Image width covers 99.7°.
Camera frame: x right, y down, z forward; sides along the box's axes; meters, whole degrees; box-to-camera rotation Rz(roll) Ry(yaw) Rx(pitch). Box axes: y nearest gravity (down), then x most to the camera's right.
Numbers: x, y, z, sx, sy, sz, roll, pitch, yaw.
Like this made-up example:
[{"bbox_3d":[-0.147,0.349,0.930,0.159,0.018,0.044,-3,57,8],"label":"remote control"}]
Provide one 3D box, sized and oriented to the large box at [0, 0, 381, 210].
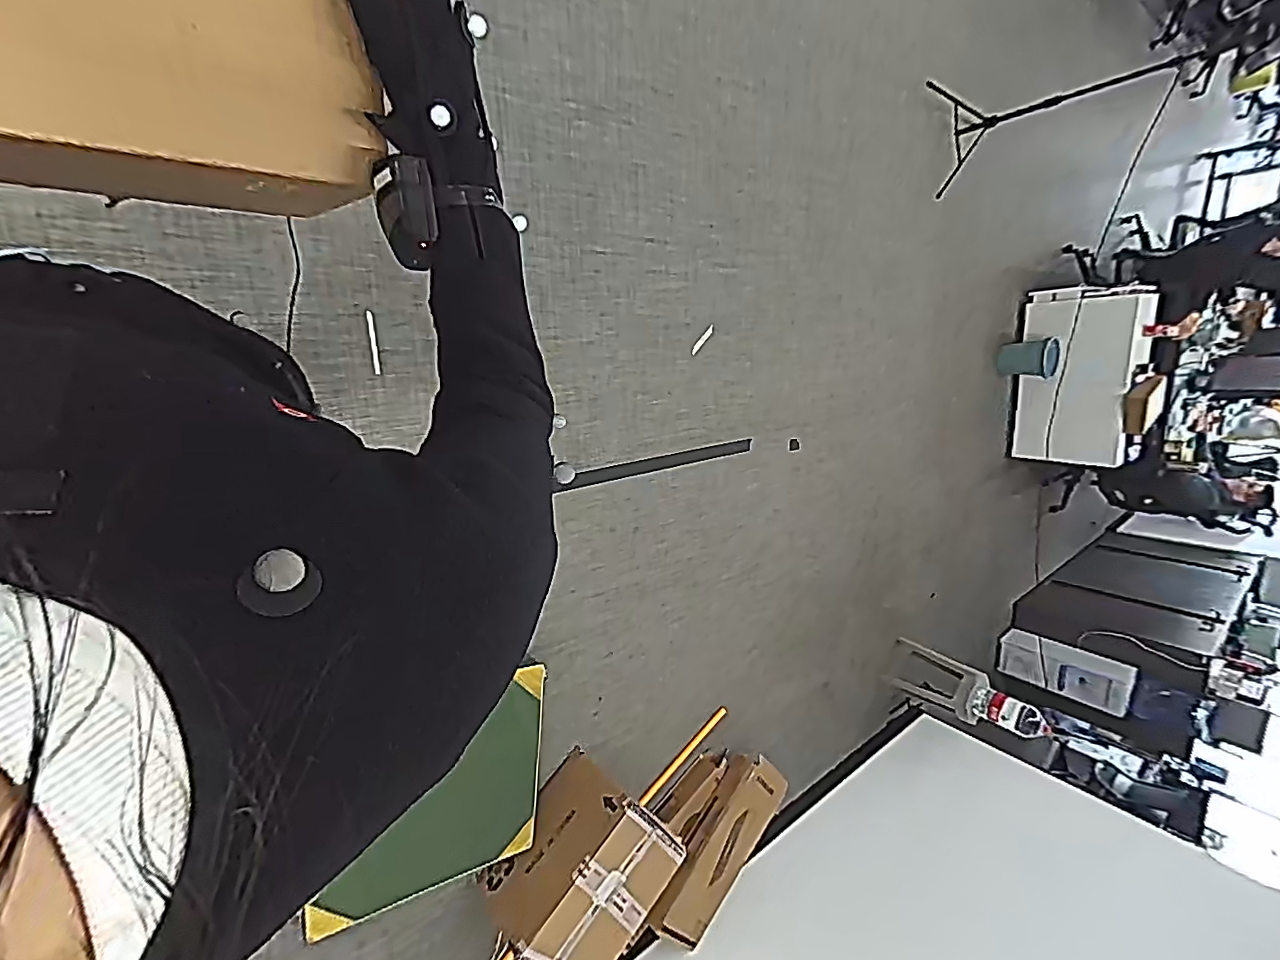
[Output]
[{"bbox_3d":[-0.443,-0.382,0.358,0.408,0.320,0.320,-13,116,-38],"label":"large box"}]
